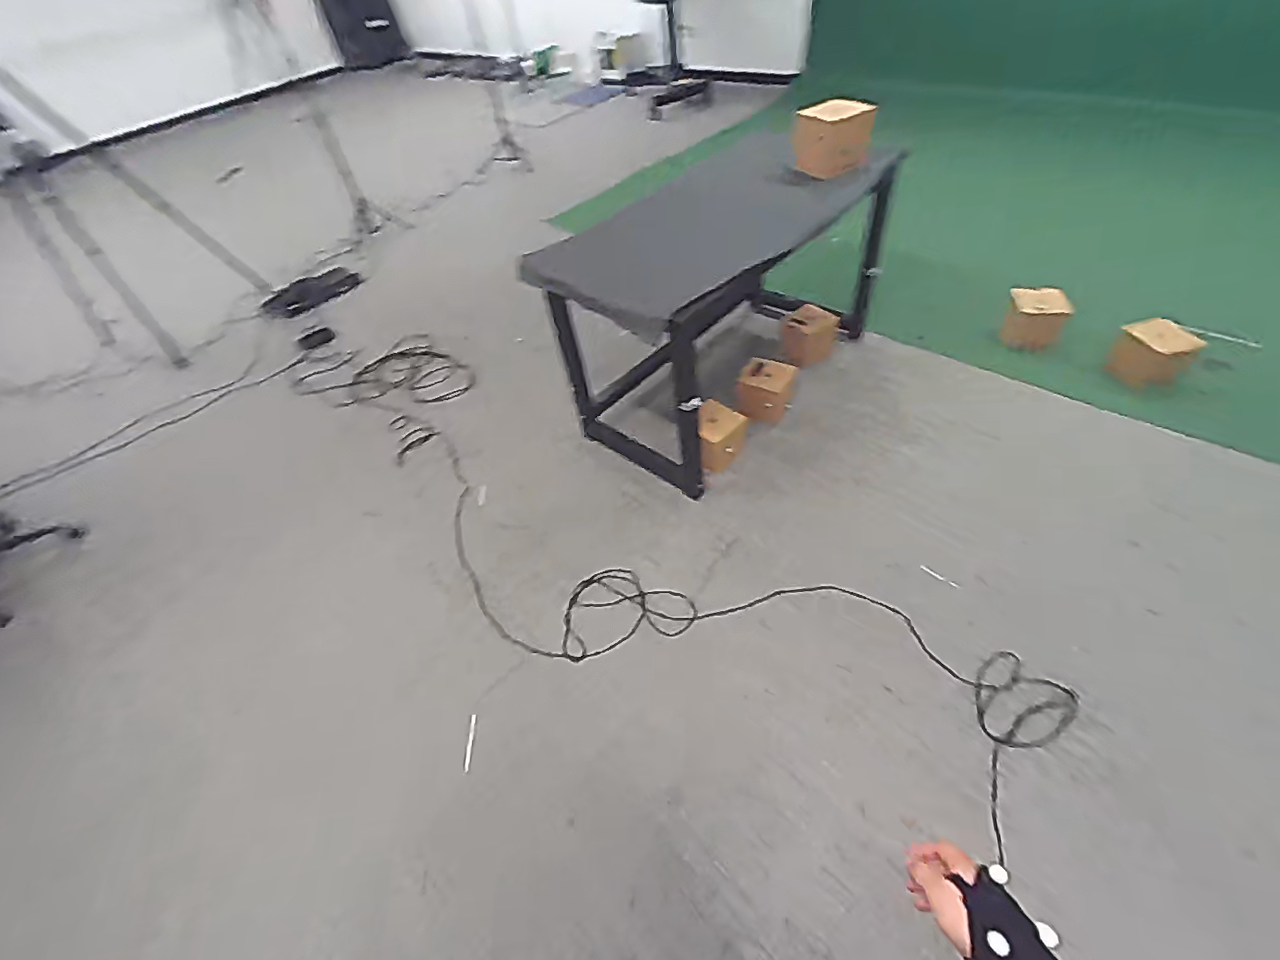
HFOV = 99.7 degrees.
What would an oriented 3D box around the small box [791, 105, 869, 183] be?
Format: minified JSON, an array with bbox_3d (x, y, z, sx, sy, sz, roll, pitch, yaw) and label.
[{"bbox_3d":[0.610,-1.088,1.756,0.168,0.176,0.179,-25,47,-13],"label":"small box"}]

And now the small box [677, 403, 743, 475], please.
[{"bbox_3d":[0.256,-0.143,1.964,0.168,0.176,0.179,-39,53,-23],"label":"small box"}]

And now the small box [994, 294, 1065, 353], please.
[{"bbox_3d":[1.564,-0.633,2.184,0.168,0.176,0.179,3,48,12],"label":"small box"}]

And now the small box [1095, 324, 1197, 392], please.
[{"bbox_3d":[1.828,-0.435,1.964,0.168,0.176,0.179,-13,47,-4],"label":"small box"}]

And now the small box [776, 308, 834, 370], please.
[{"bbox_3d":[0.693,-0.594,2.289,0.179,0.176,0.168,-31,51,-19],"label":"small box"}]
